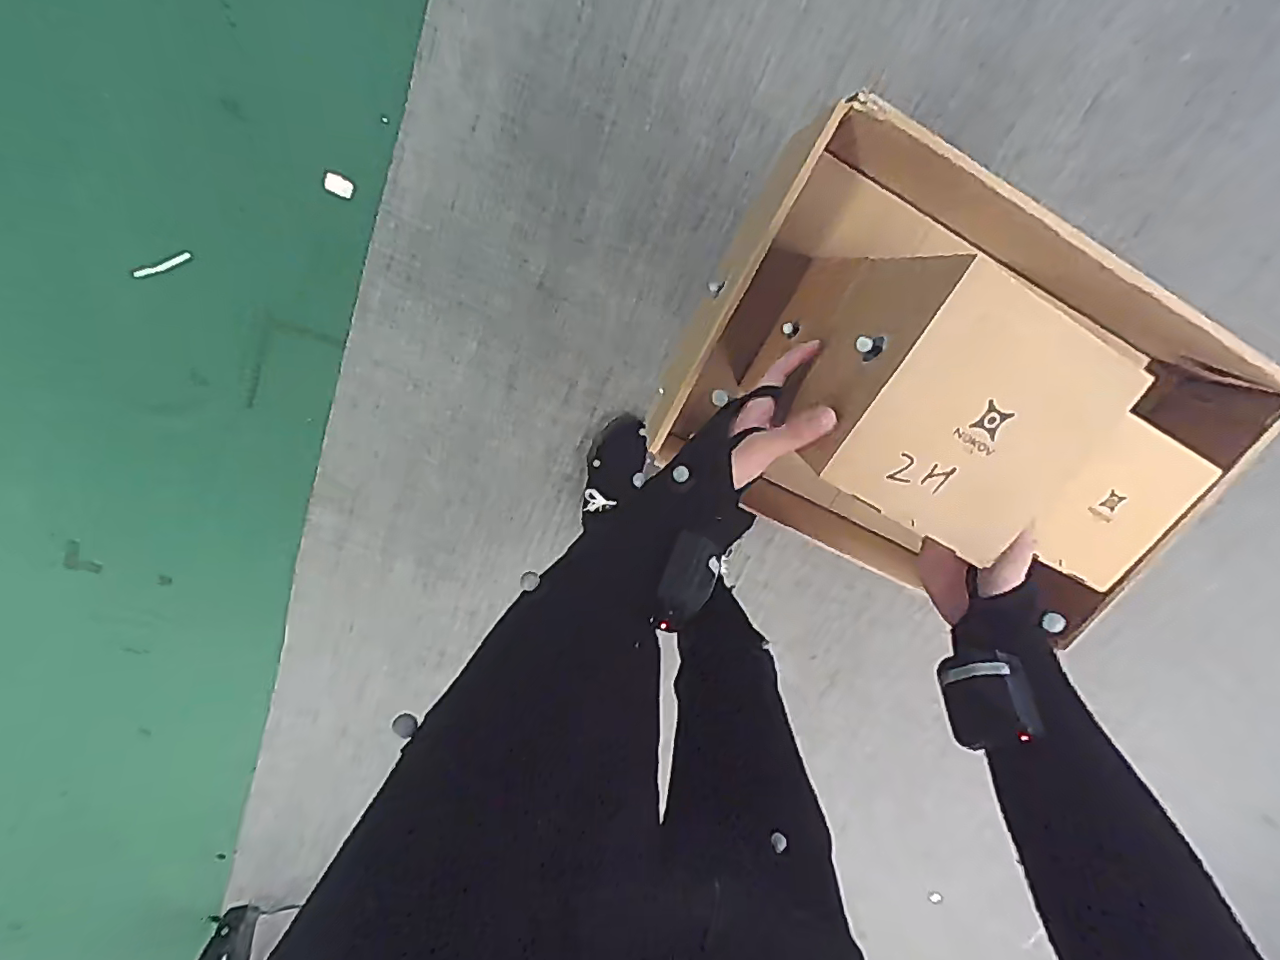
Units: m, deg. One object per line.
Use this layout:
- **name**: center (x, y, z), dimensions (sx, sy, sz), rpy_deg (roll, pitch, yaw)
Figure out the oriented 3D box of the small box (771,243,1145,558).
- **small box**: center (0.233, -0.074, 0.453), dimensions (0.168, 0.176, 0.179), rpy_deg (27, 109, -11)
